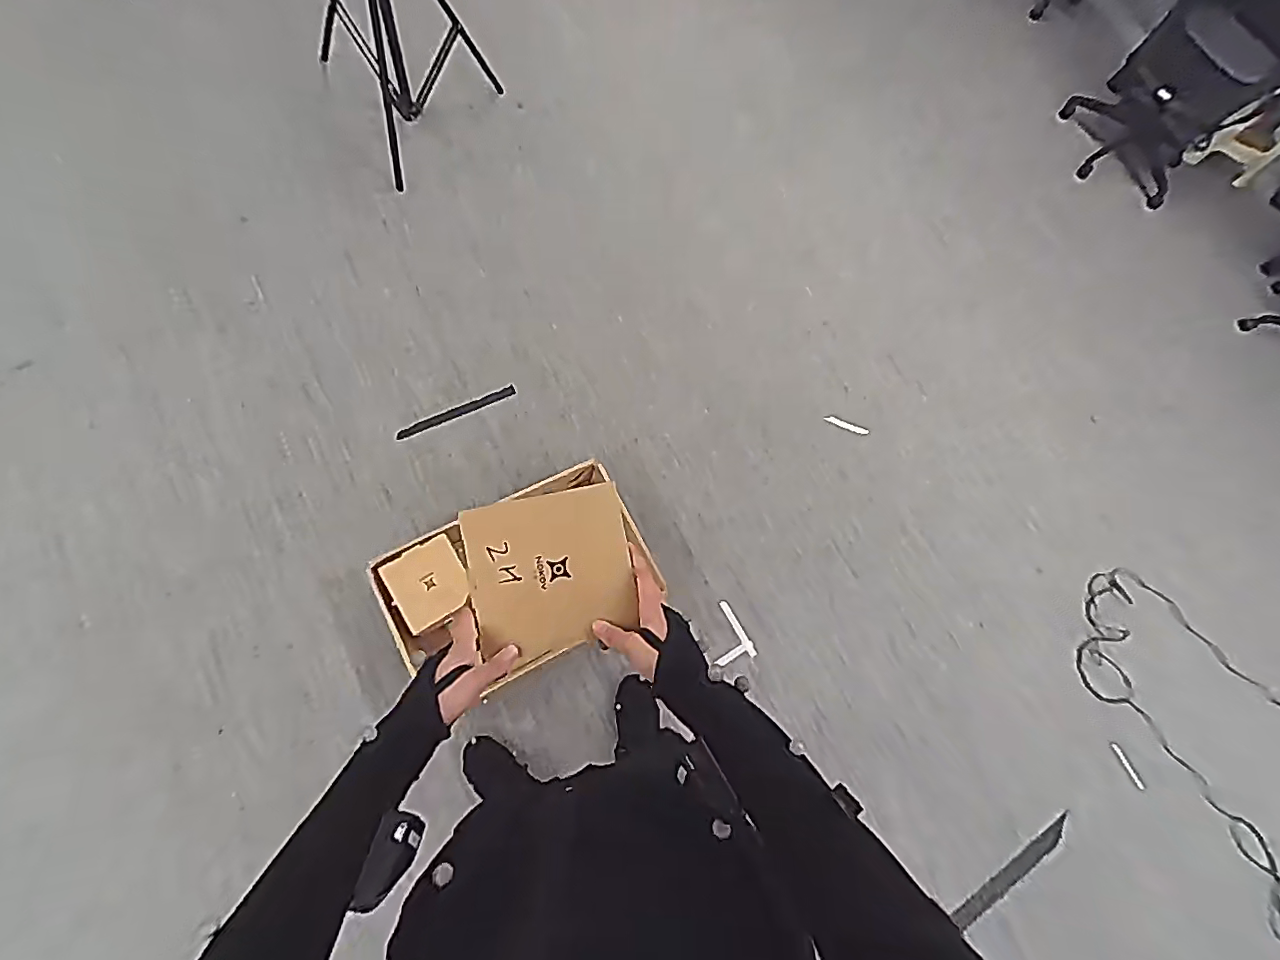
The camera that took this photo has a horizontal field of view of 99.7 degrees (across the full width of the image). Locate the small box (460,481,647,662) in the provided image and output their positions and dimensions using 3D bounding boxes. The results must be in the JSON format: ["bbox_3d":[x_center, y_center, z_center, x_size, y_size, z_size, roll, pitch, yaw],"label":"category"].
[{"bbox_3d":[-0.100,0.106,0.653,0.179,0.176,0.168,-11,82,-6],"label":"small box"}]
